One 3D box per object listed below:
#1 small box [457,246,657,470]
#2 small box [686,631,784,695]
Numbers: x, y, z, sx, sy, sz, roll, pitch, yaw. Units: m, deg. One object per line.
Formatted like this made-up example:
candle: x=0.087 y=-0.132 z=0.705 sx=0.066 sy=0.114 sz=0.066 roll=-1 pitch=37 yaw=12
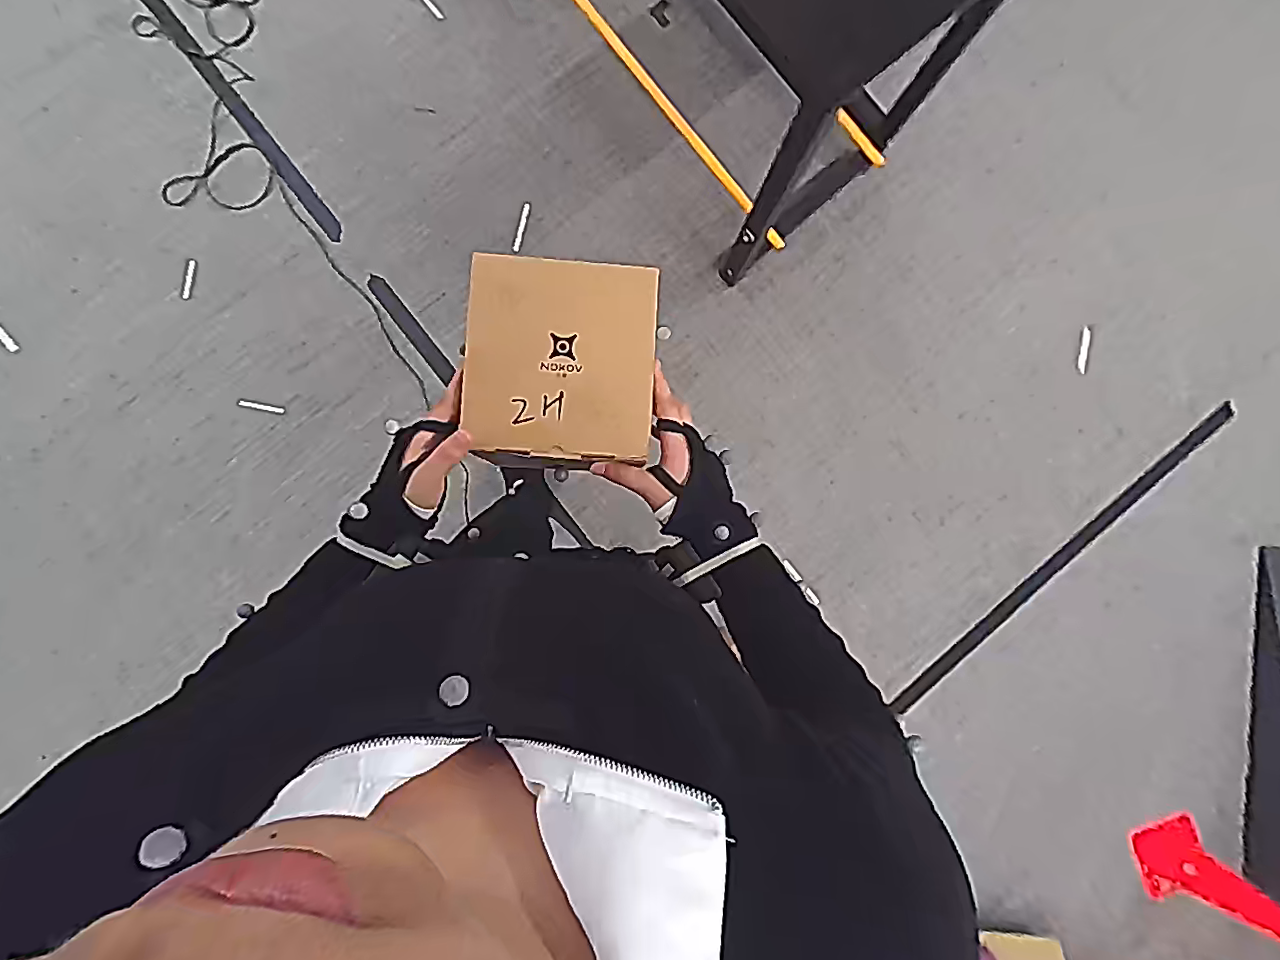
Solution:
small box: x=-0.076 y=-0.108 z=0.548 sx=0.168 sy=0.176 sz=0.179 roll=3 pitch=86 yaw=-4
small box: x=0.241 y=0.522 z=1.418 sx=0.179 sy=0.176 sz=0.168 roll=45 pitch=86 yaw=1
